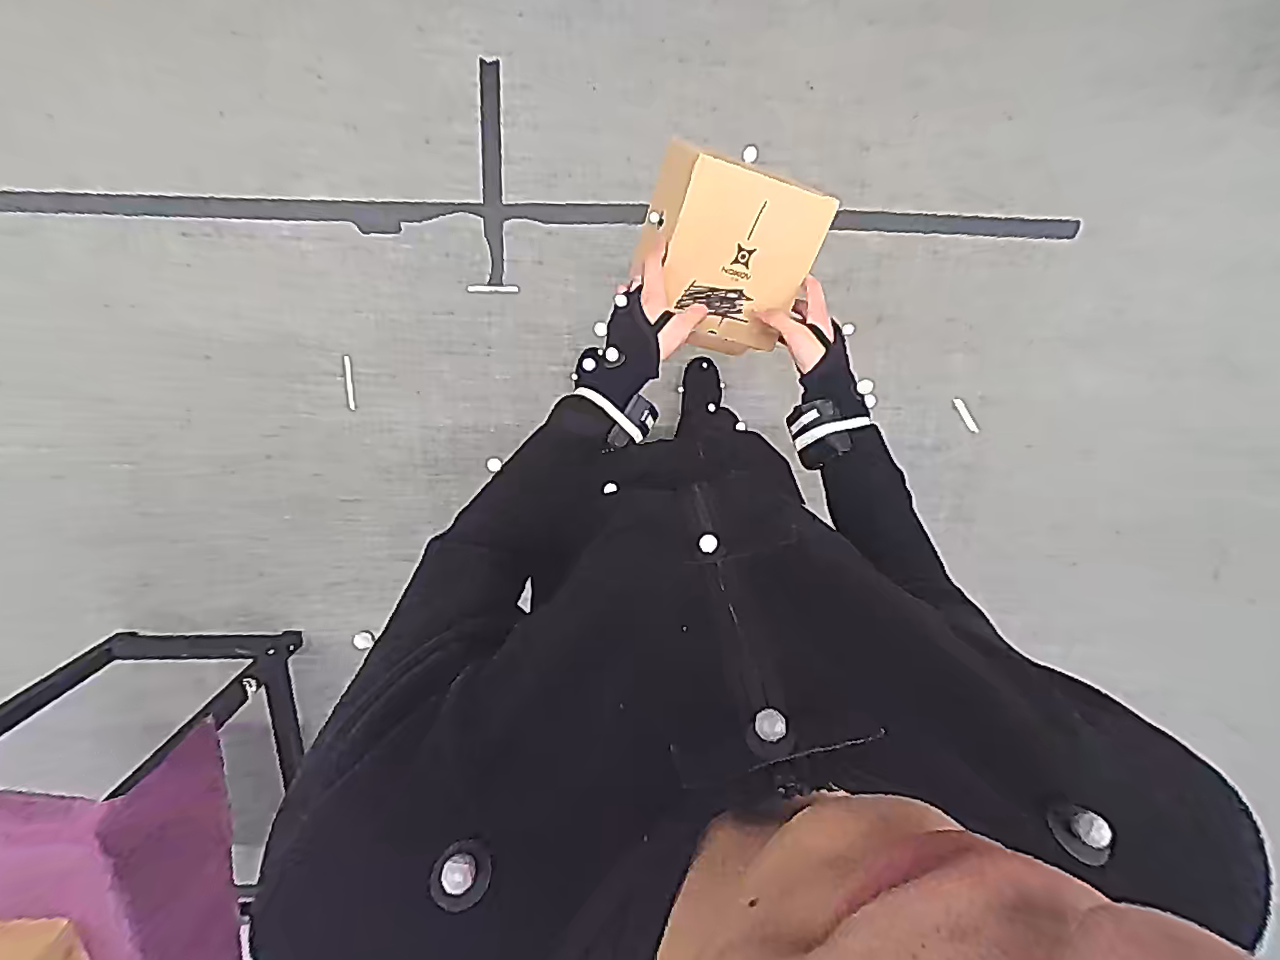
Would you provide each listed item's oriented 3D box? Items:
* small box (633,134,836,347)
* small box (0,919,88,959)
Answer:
[{"bbox_3d":[0.096,-0.289,0.653,0.168,0.176,0.179,9,125,-17],"label":"small box"},{"bbox_3d":[-1.236,0.989,1.039,0.179,0.176,0.168,-1,106,-2],"label":"small box"}]
